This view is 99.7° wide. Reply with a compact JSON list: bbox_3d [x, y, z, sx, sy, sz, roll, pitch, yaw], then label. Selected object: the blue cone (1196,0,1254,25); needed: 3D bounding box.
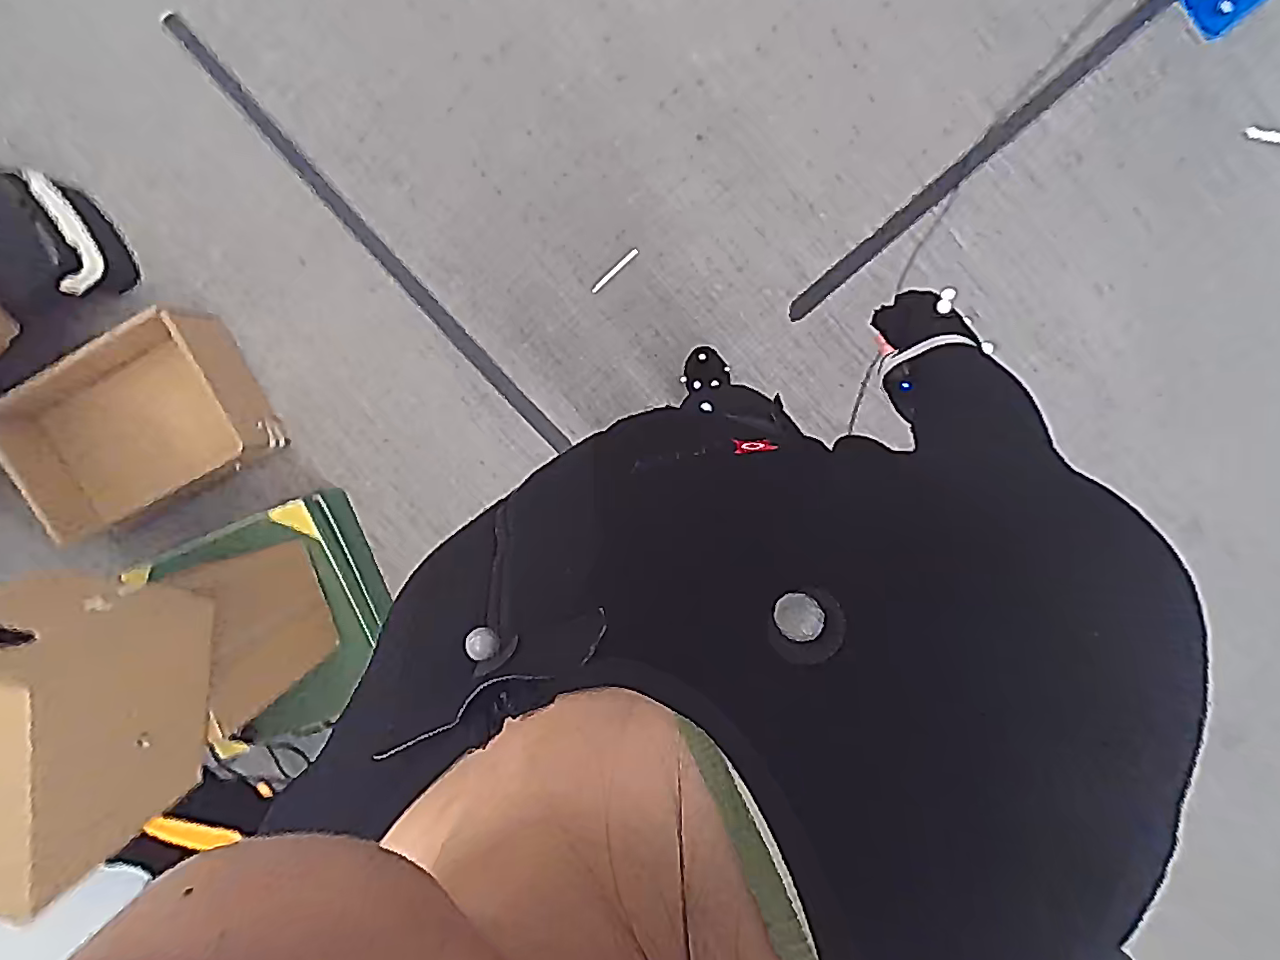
[{"bbox_3d":[1.271,-1.086,1.002,0.192,0.380,0.193,-42,95,9],"label":"blue cone"}]
